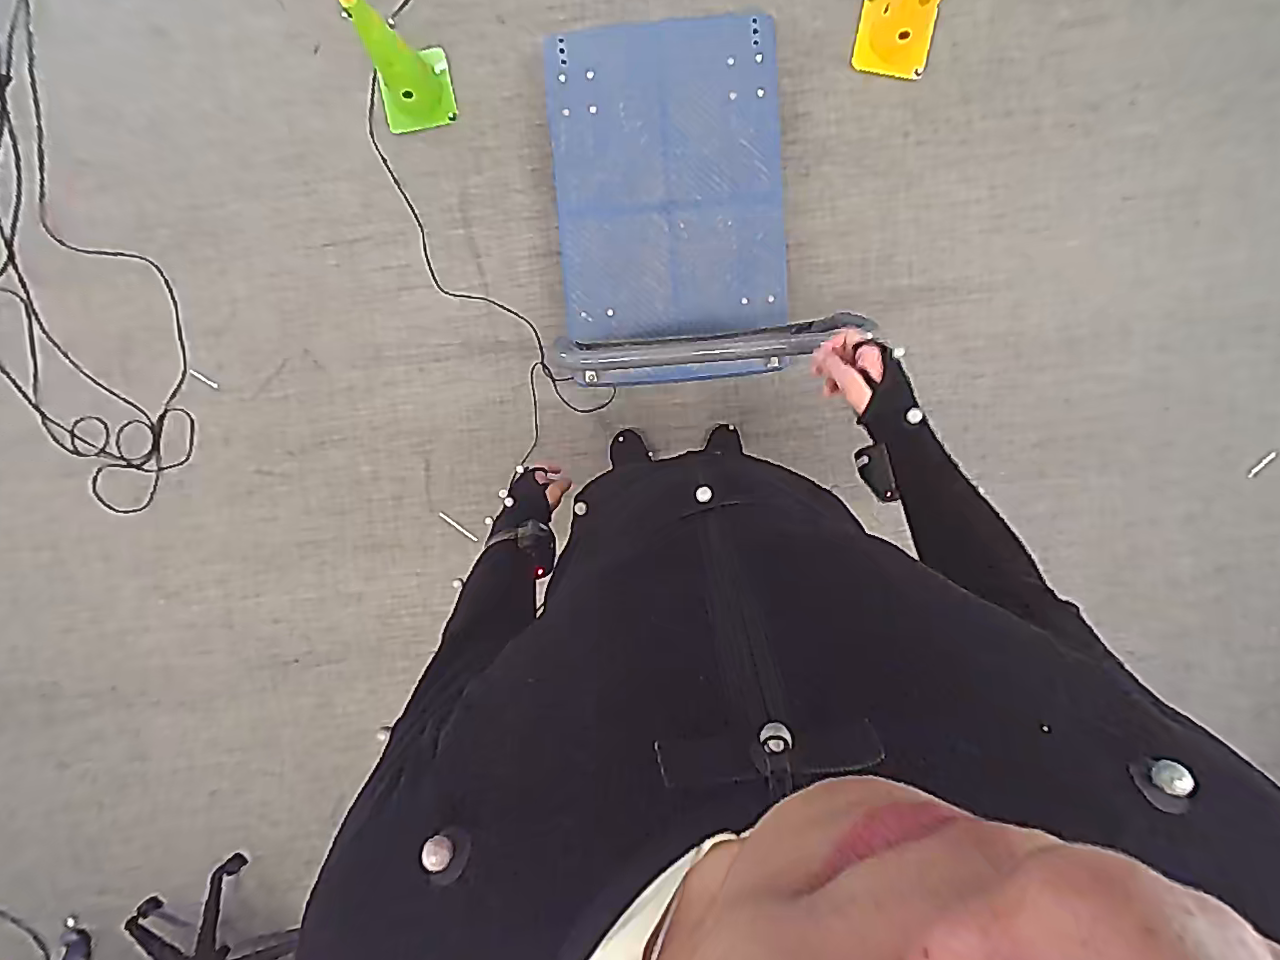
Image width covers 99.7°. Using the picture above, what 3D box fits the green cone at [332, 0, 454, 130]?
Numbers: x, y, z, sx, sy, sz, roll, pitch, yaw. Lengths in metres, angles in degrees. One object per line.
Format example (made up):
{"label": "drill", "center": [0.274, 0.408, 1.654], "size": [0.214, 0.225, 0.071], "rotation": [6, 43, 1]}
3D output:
{"label": "green cone", "center": [-0.638, -1.076, 1.333], "size": [0.202, 0.368, 0.200], "rotation": [-10, 96, 4]}
